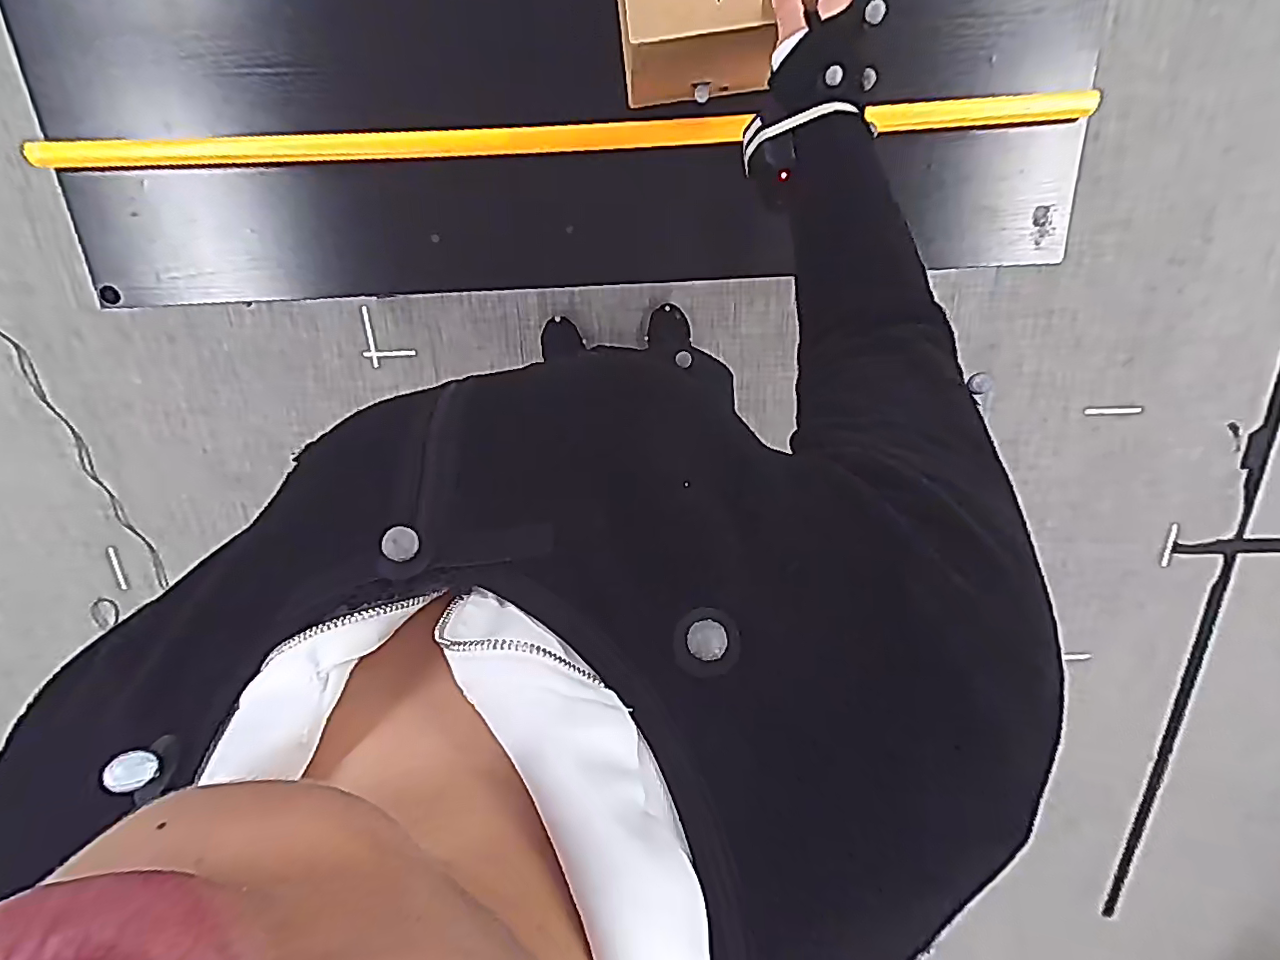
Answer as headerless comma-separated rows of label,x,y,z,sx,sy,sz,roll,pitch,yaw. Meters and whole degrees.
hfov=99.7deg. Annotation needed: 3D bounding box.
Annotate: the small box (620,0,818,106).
small box,0.063,-0.494,0.518,0.168,0.176,0.179,-6,109,2
